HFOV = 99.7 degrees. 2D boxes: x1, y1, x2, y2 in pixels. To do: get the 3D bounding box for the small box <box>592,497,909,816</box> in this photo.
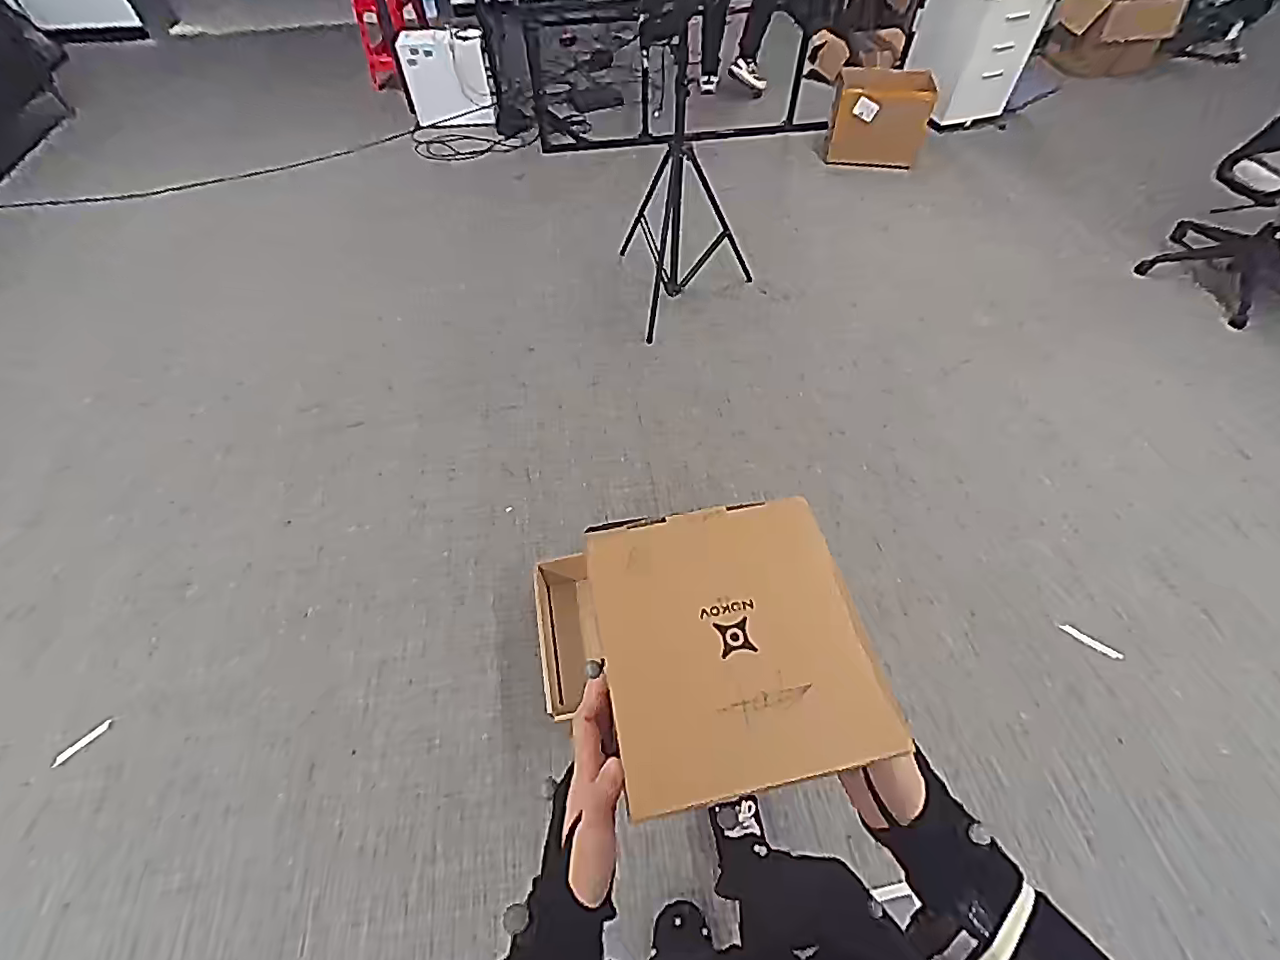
[{"bbox_3d":[0.057,0.138,0.412,0.168,0.176,0.179,-9,58,-7],"label":"small box"}]
